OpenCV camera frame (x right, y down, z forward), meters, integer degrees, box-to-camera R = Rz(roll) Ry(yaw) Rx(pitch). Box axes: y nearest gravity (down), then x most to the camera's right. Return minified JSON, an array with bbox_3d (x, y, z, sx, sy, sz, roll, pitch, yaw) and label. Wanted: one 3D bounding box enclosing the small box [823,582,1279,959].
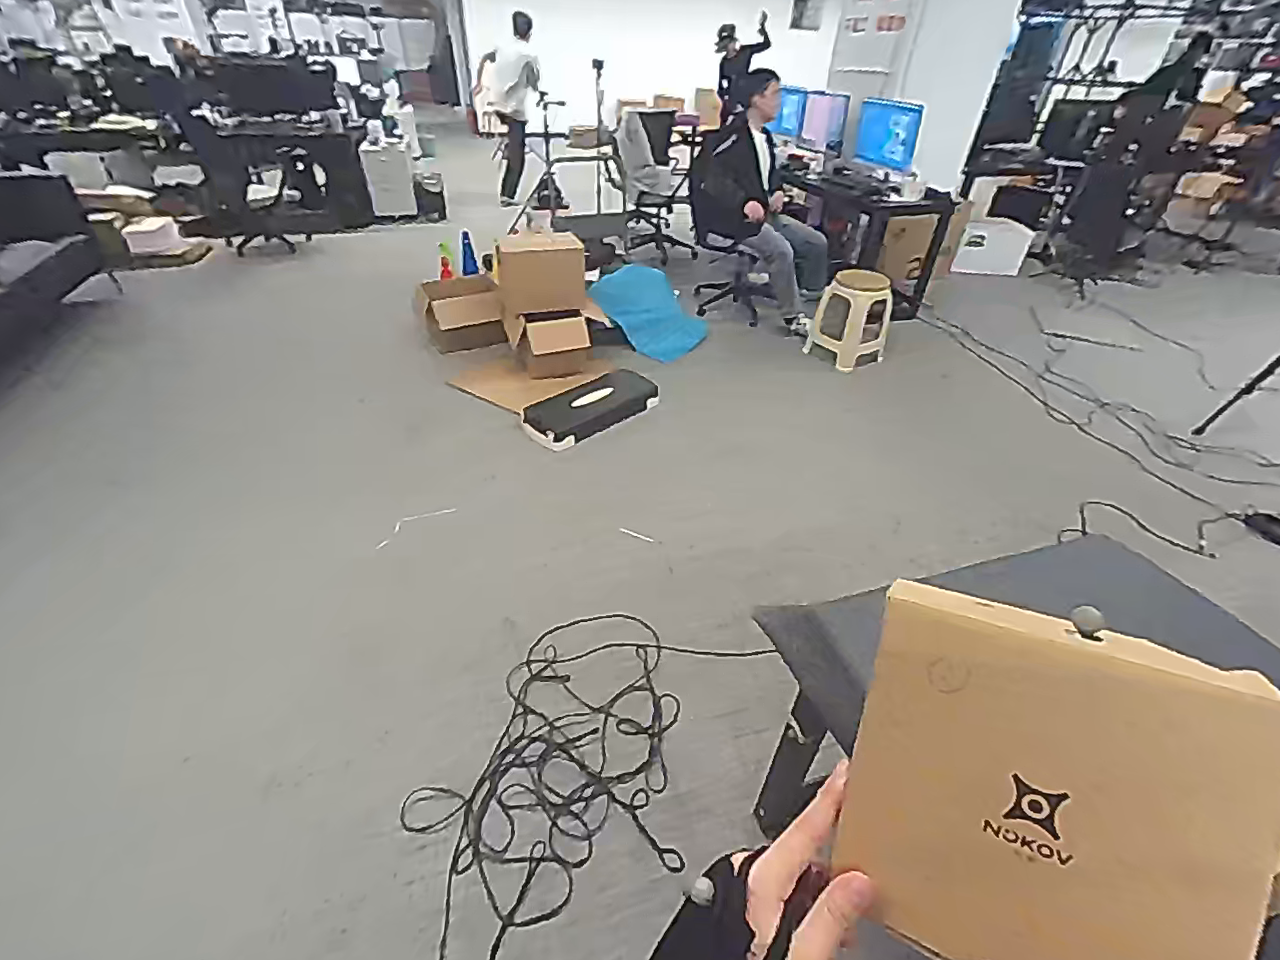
[{"bbox_3d":[0.222,0.170,0.332,0.168,0.179,0.176,12,1,26],"label":"small box"}]
